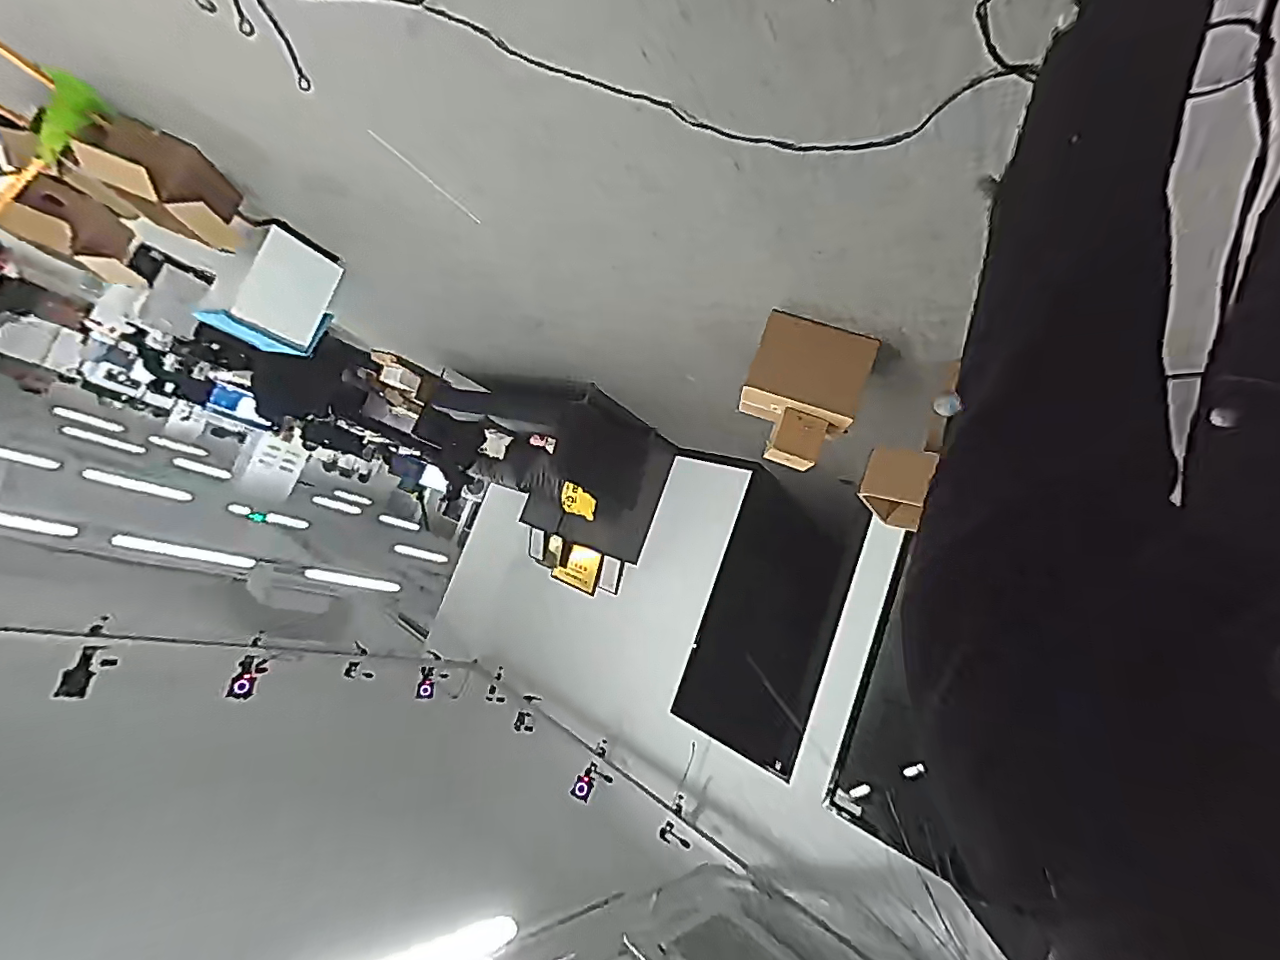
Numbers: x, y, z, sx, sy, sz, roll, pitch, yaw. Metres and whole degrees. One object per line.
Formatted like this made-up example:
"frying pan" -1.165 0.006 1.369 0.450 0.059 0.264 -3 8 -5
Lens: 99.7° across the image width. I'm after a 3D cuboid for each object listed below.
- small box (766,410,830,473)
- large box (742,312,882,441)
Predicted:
"small box" 0.593 -0.144 2.030 0.168 0.176 0.179 20 174 6
"large box" 0.638 -0.385 2.059 0.408 0.320 0.320 21 173 10
